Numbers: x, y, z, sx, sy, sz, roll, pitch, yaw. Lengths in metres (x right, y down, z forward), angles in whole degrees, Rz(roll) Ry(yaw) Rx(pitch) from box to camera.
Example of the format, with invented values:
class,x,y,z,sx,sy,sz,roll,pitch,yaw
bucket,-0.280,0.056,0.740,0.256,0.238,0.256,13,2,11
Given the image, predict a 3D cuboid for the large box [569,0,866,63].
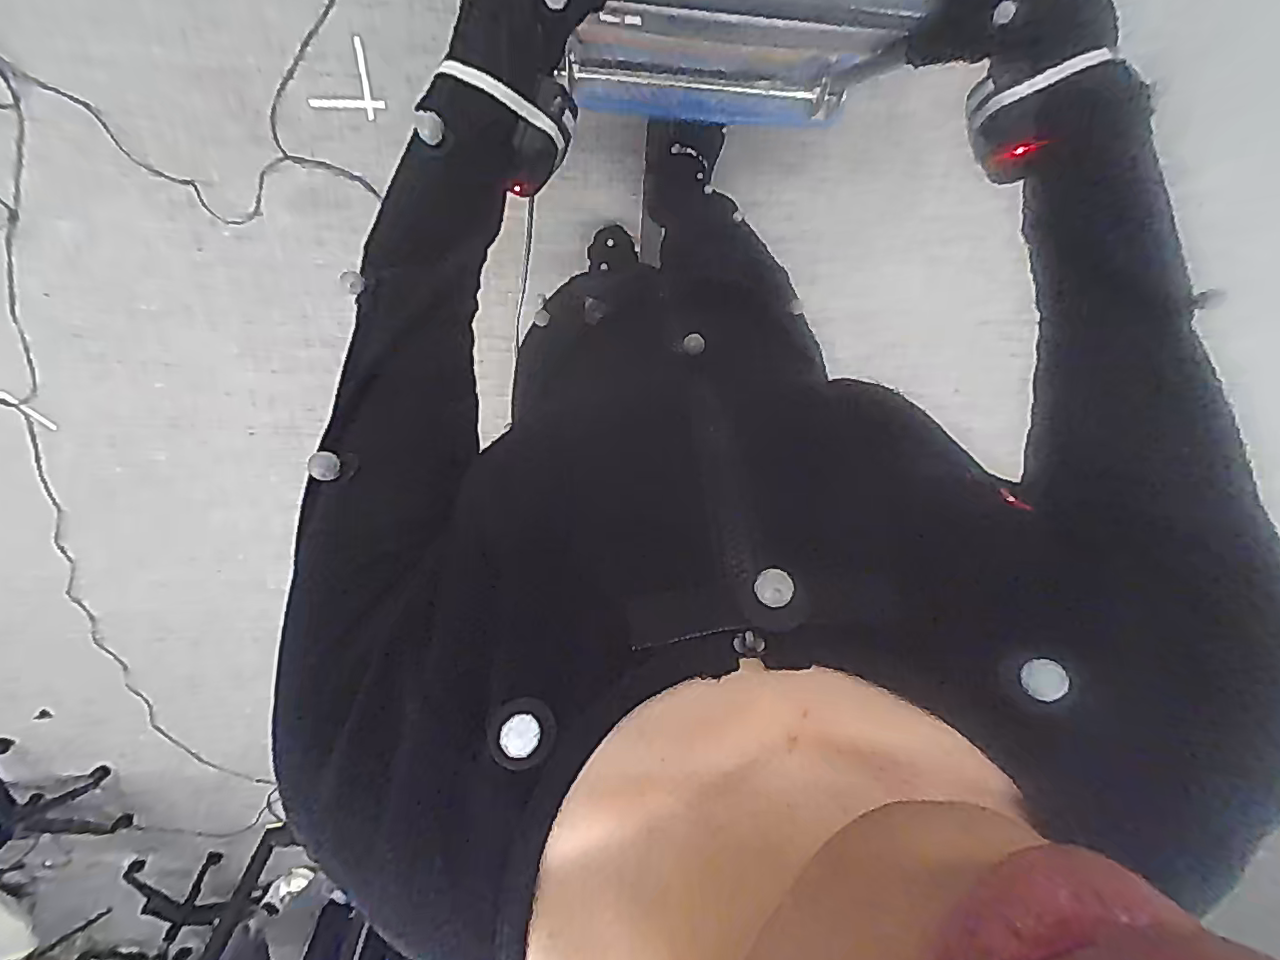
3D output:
class,x,y,z,sx,sy,sz,roll,pitch,yaw
large box,0.099,-0.822,0.770,0.408,0.320,0.320,1,122,-6
